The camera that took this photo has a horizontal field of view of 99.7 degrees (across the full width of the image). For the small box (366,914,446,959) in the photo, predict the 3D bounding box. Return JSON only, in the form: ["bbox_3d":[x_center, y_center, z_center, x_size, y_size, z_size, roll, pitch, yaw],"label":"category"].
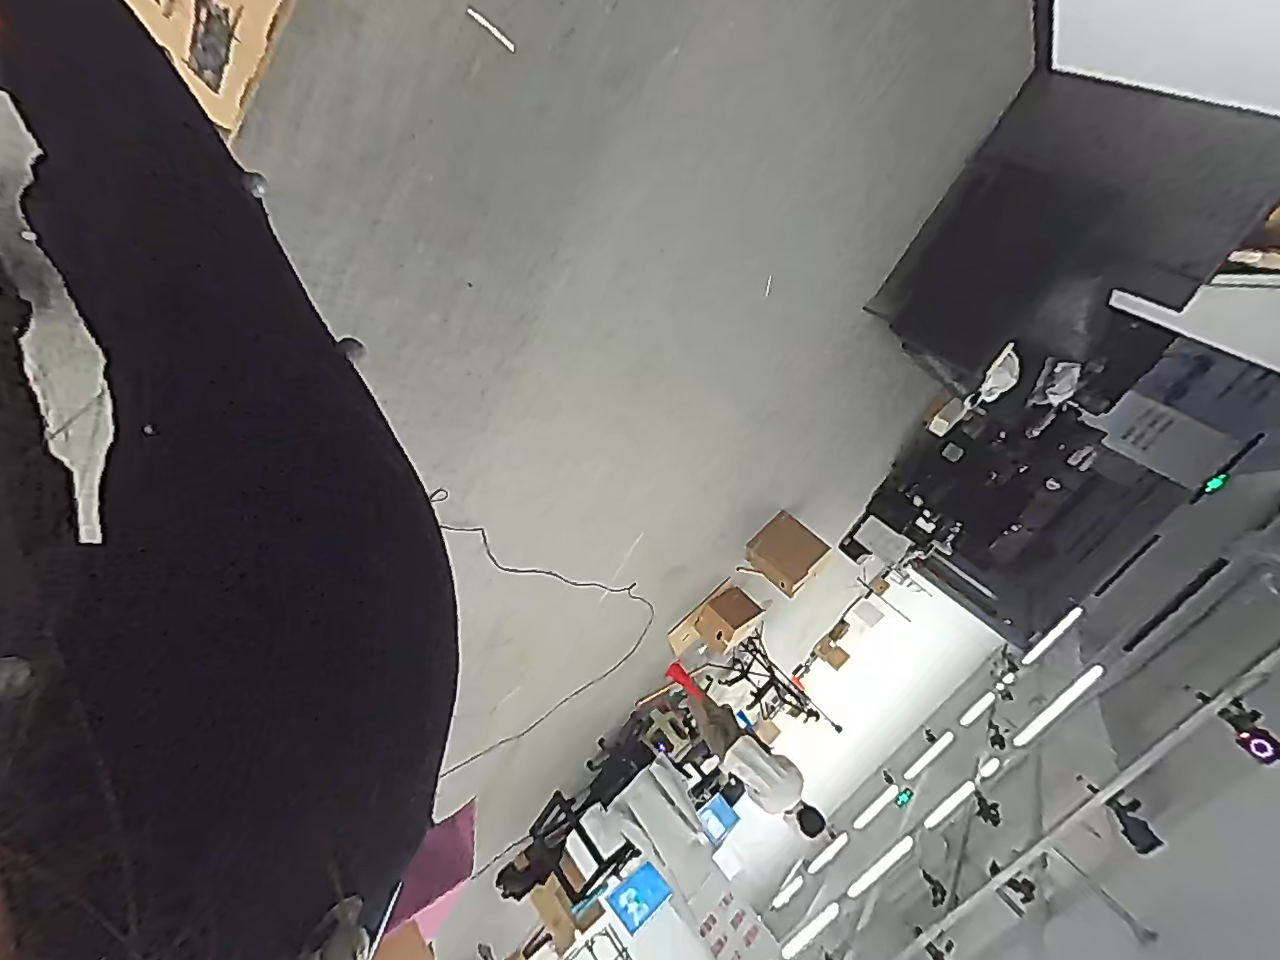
[{"bbox_3d":[-0.712,1.466,1.615,0.179,0.176,0.168,1,126,-52],"label":"small box"}]

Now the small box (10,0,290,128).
[{"bbox_3d":[-0.507,-0.519,0.559,0.168,0.176,0.179,-55,148,14],"label":"small box"}]
